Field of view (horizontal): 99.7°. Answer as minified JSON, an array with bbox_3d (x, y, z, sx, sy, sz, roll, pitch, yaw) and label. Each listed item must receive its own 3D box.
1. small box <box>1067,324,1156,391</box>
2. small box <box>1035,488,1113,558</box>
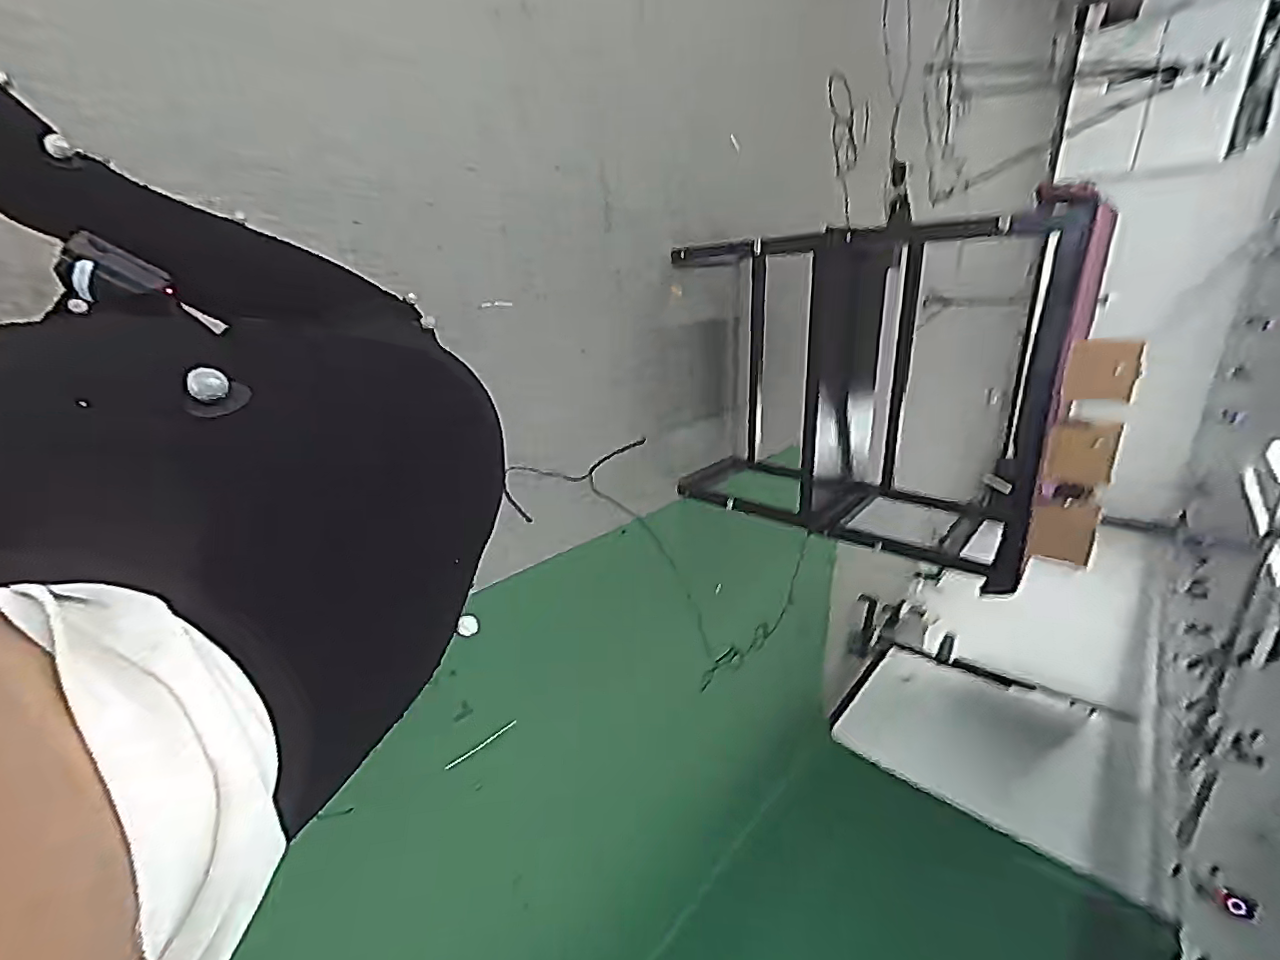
[{"bbox_3d":[1.371,-0.361,1.578,0.168,0.176,0.179,-20,116,-44],"label":"small box"},{"bbox_3d":[1.410,0.131,1.761,0.168,0.176,0.179,-18,113,-43],"label":"small box"}]
